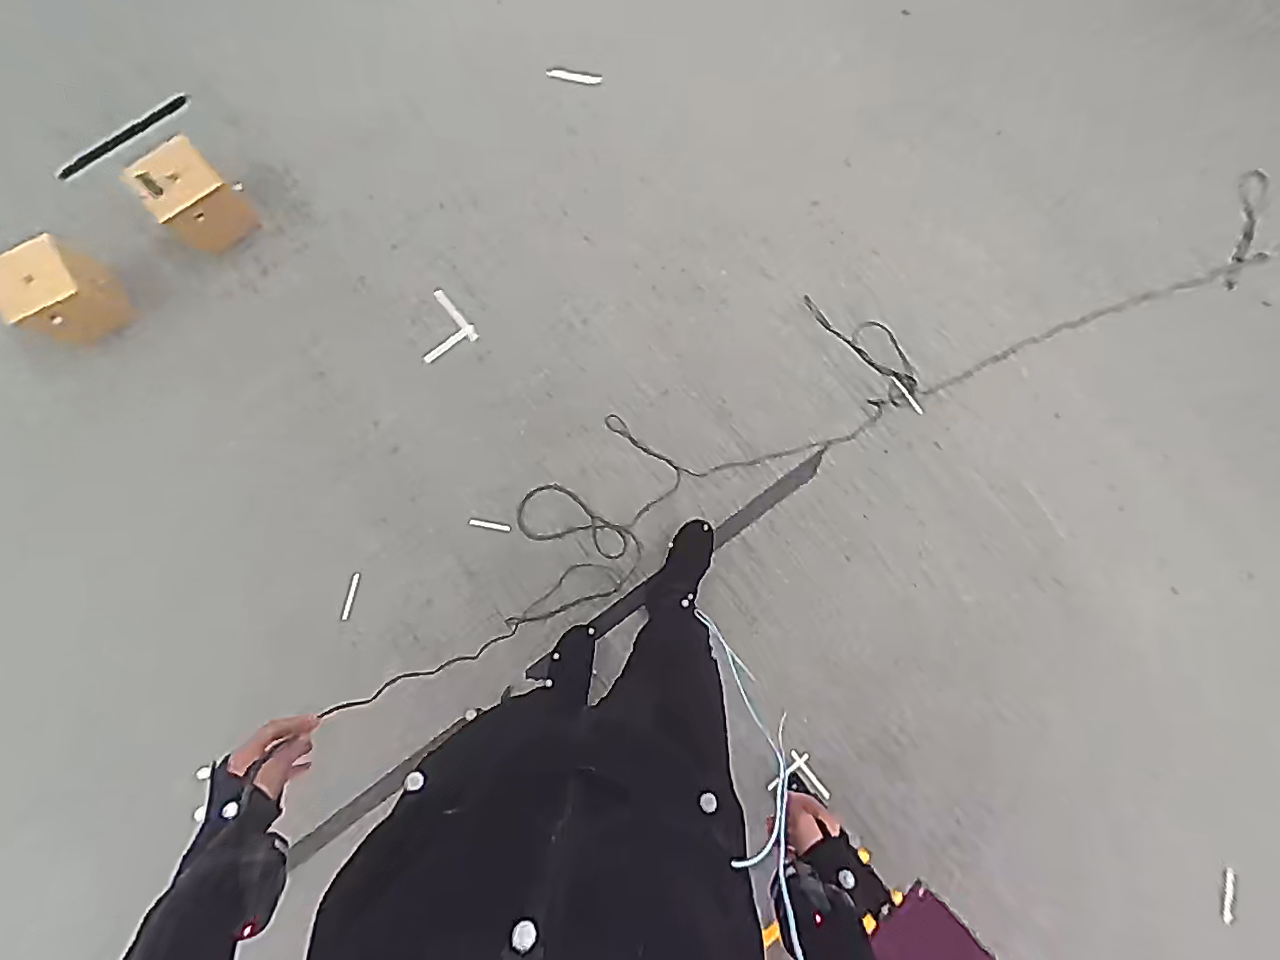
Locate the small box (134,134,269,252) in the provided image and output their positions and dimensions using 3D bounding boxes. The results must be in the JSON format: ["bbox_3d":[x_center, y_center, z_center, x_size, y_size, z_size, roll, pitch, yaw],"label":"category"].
[{"bbox_3d":[-1.119,-0.729,1.396,0.179,0.176,0.168,-38,88,-6],"label":"small box"}]

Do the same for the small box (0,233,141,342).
[{"bbox_3d":[-1.422,-0.476,1.360,0.179,0.176,0.168,-29,88,-4],"label":"small box"}]
